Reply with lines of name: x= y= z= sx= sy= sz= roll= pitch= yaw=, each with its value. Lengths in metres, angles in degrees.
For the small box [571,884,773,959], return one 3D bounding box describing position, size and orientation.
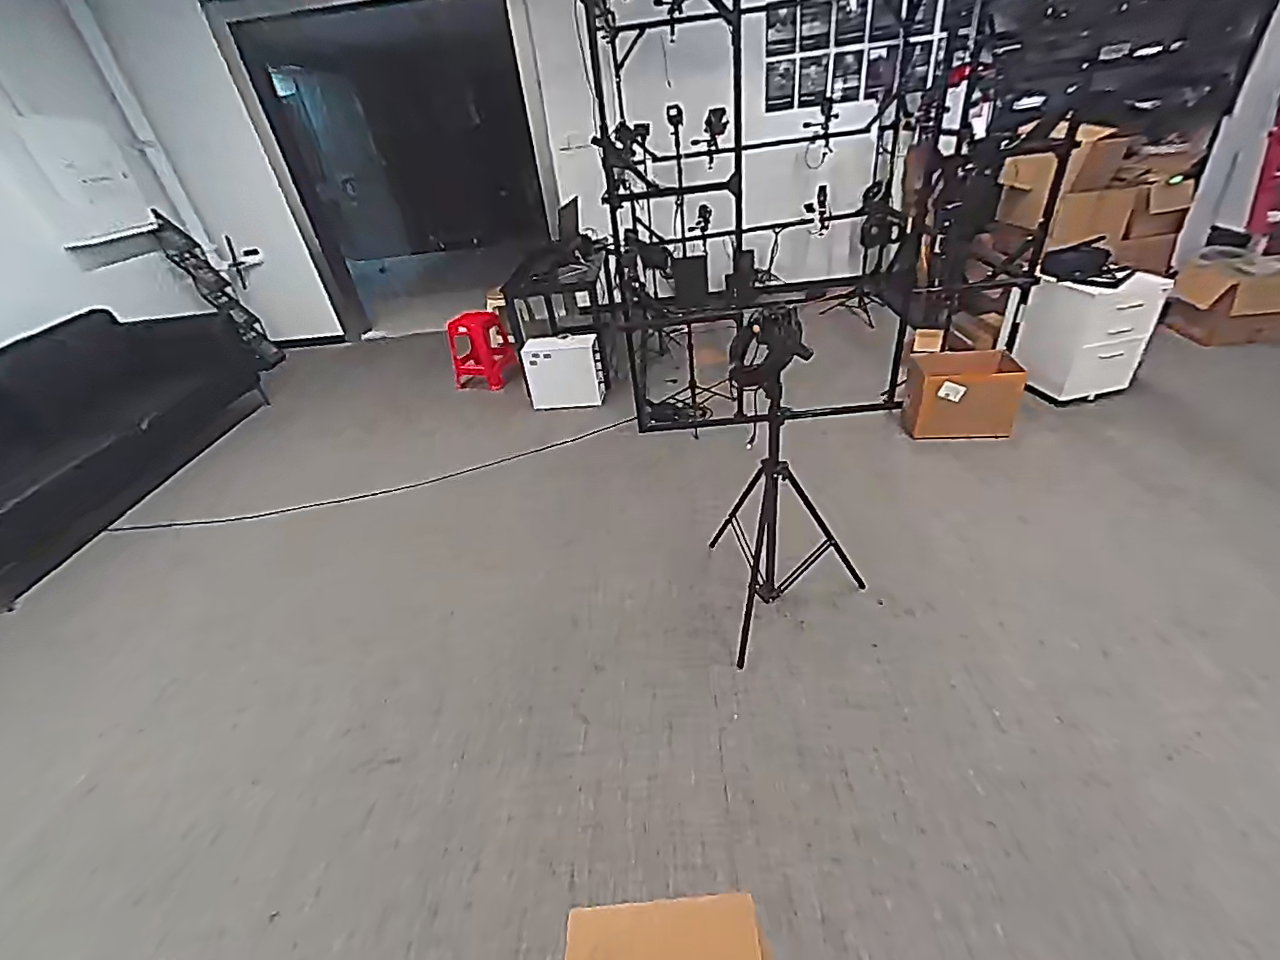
small box: x=0.038 y=0.472 z=0.450 sx=0.168 sy=0.176 sz=0.179 roll=-10 pitch=38 yaw=6
